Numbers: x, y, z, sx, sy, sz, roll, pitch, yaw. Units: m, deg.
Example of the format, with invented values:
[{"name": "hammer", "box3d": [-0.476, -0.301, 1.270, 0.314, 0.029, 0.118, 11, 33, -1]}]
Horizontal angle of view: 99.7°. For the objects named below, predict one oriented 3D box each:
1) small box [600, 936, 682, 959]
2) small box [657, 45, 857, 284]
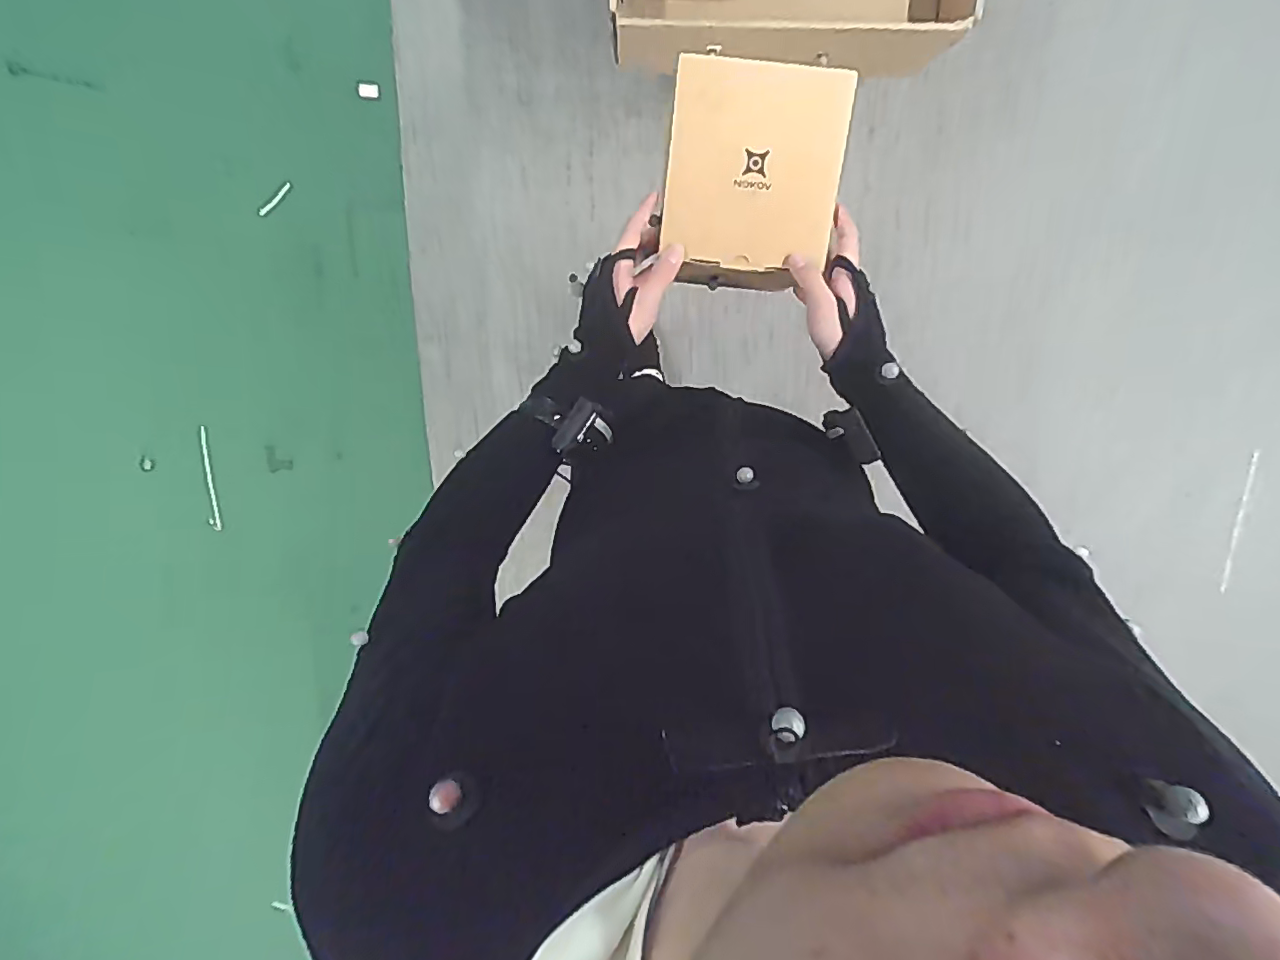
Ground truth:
[{"name": "small box", "box3d": [0.003, 1.016, 1.021, 0.168, 0.176, 0.179, 0, 104, -2]}, {"name": "small box", "box3d": [0.108, -0.318, 0.582, 0.168, 0.176, 0.179, 5, 105, -1]}]
